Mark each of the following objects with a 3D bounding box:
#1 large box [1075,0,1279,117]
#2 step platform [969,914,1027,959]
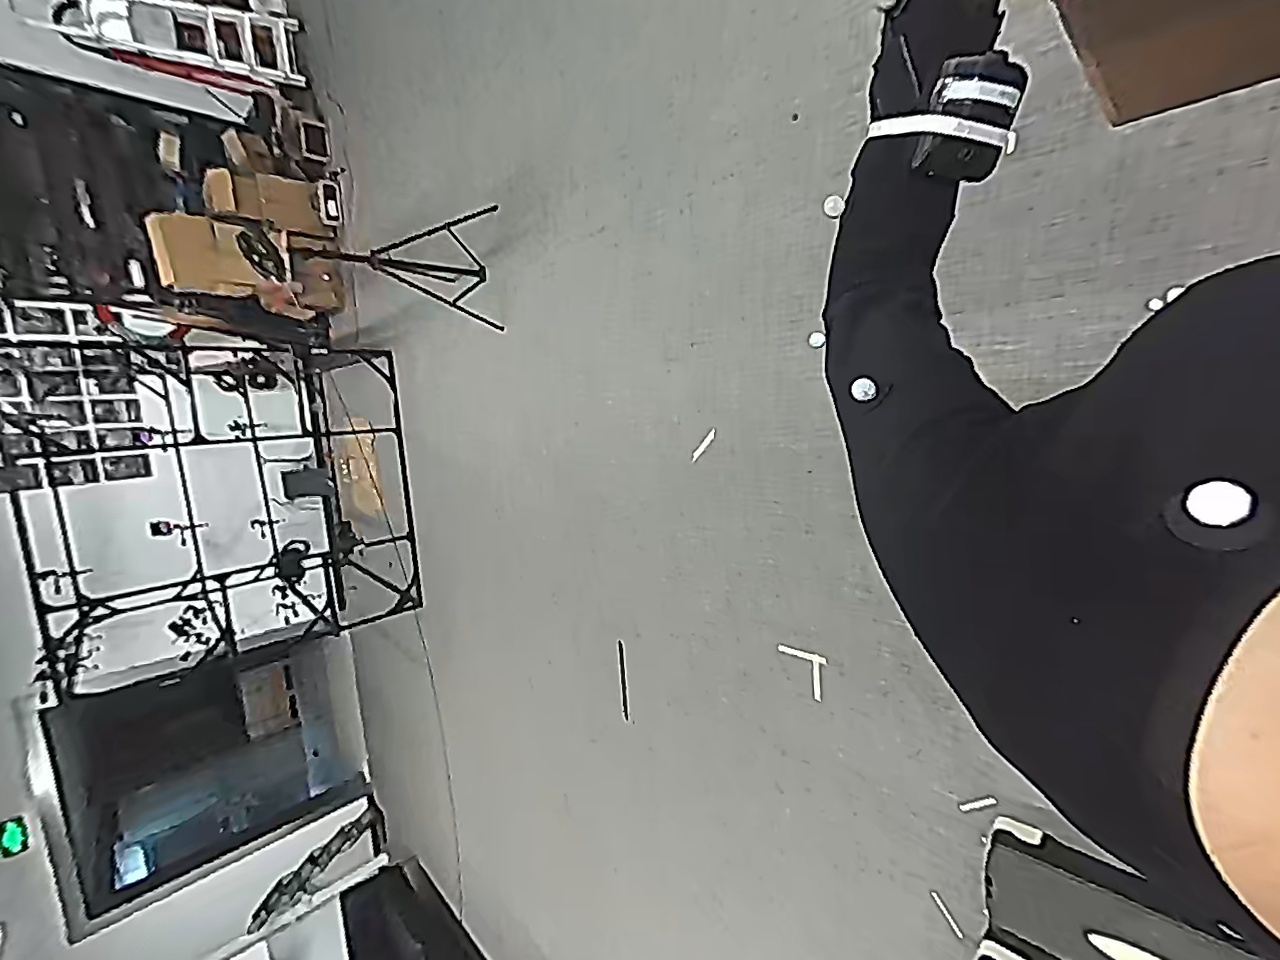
[{"bbox_3d":[0.477,-0.463,0.261,0.408,0.320,0.320,4,104,45],"label":"large box"},{"bbox_3d":[1.112,1.327,1.190,0.684,0.204,0.286,2,100,48],"label":"step platform"}]
